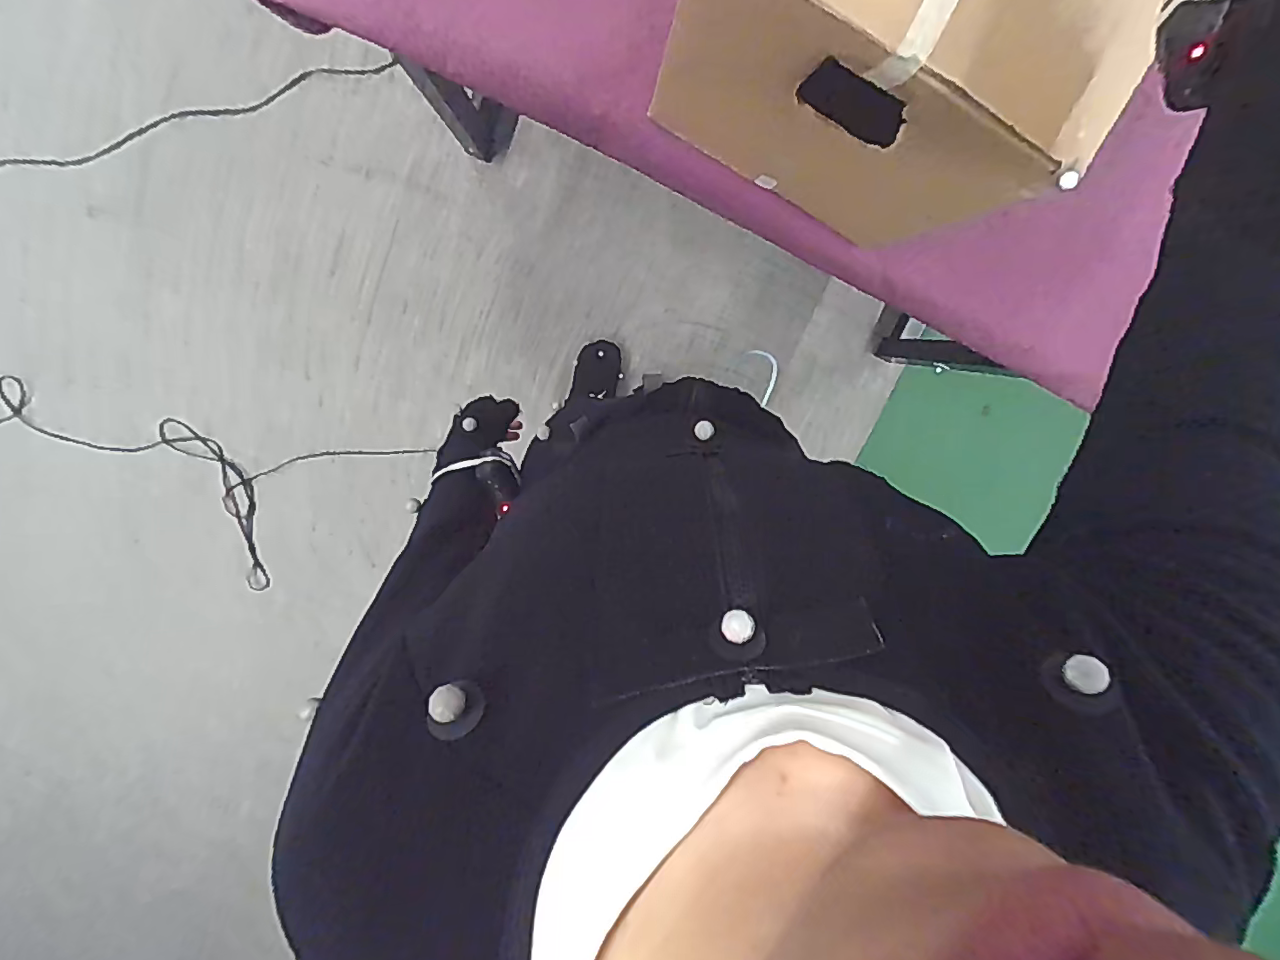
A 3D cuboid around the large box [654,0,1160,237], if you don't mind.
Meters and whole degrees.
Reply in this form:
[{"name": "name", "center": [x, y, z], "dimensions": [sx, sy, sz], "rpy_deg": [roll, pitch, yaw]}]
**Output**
[{"name": "large box", "center": [0.246, -0.499, 0.479], "dimensions": [0.320, 0.320, 0.408], "rpy_deg": [25, 103, -11]}]
